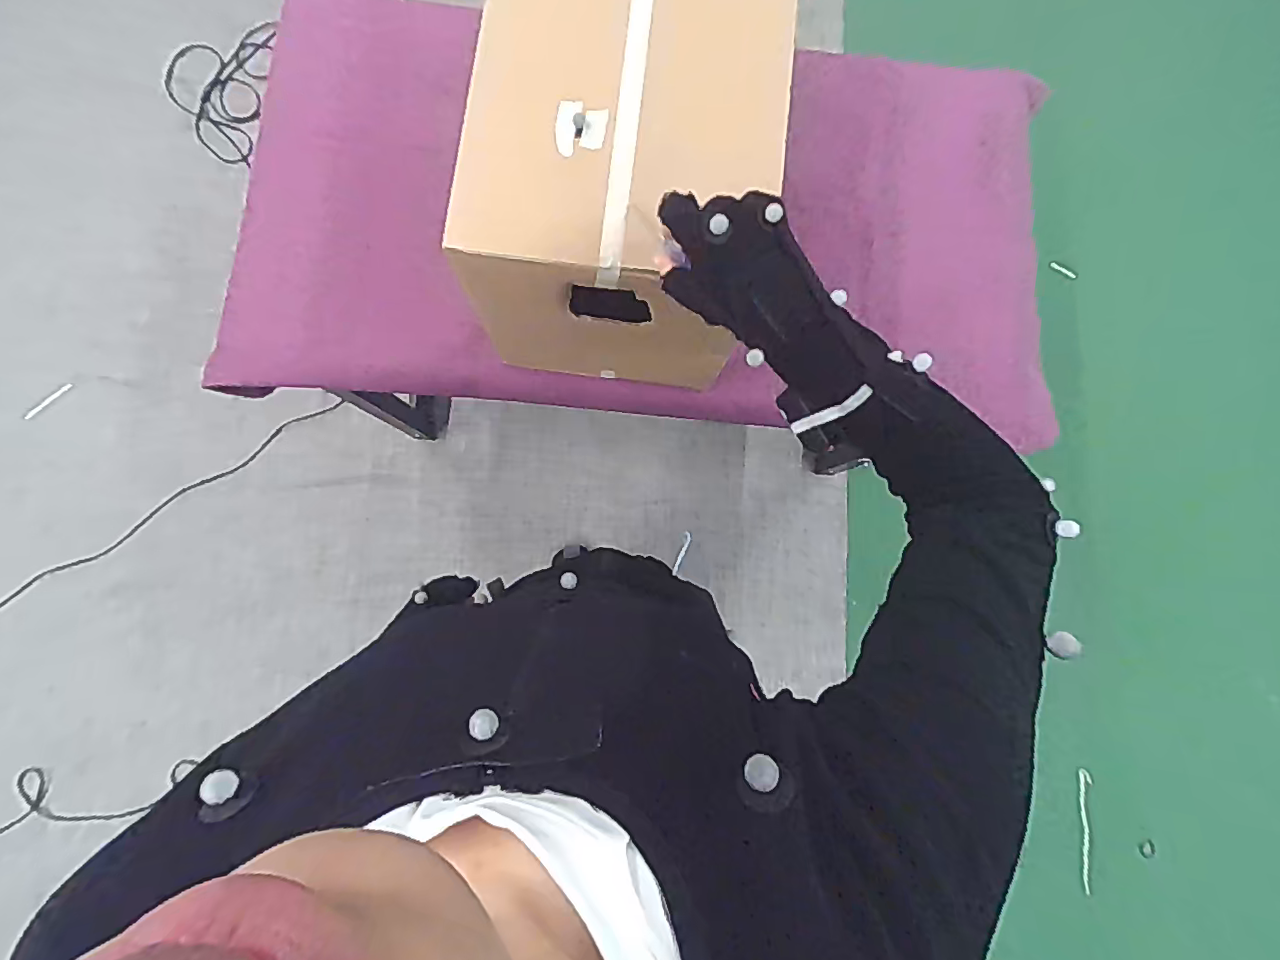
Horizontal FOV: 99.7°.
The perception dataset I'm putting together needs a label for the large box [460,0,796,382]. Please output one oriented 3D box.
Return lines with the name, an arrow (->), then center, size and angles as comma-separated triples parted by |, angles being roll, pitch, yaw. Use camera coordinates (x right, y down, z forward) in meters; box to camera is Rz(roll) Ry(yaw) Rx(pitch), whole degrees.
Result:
large box -> -0.012, -0.378, 0.693 | 0.320, 0.320, 0.408 | 7, 83, -2
